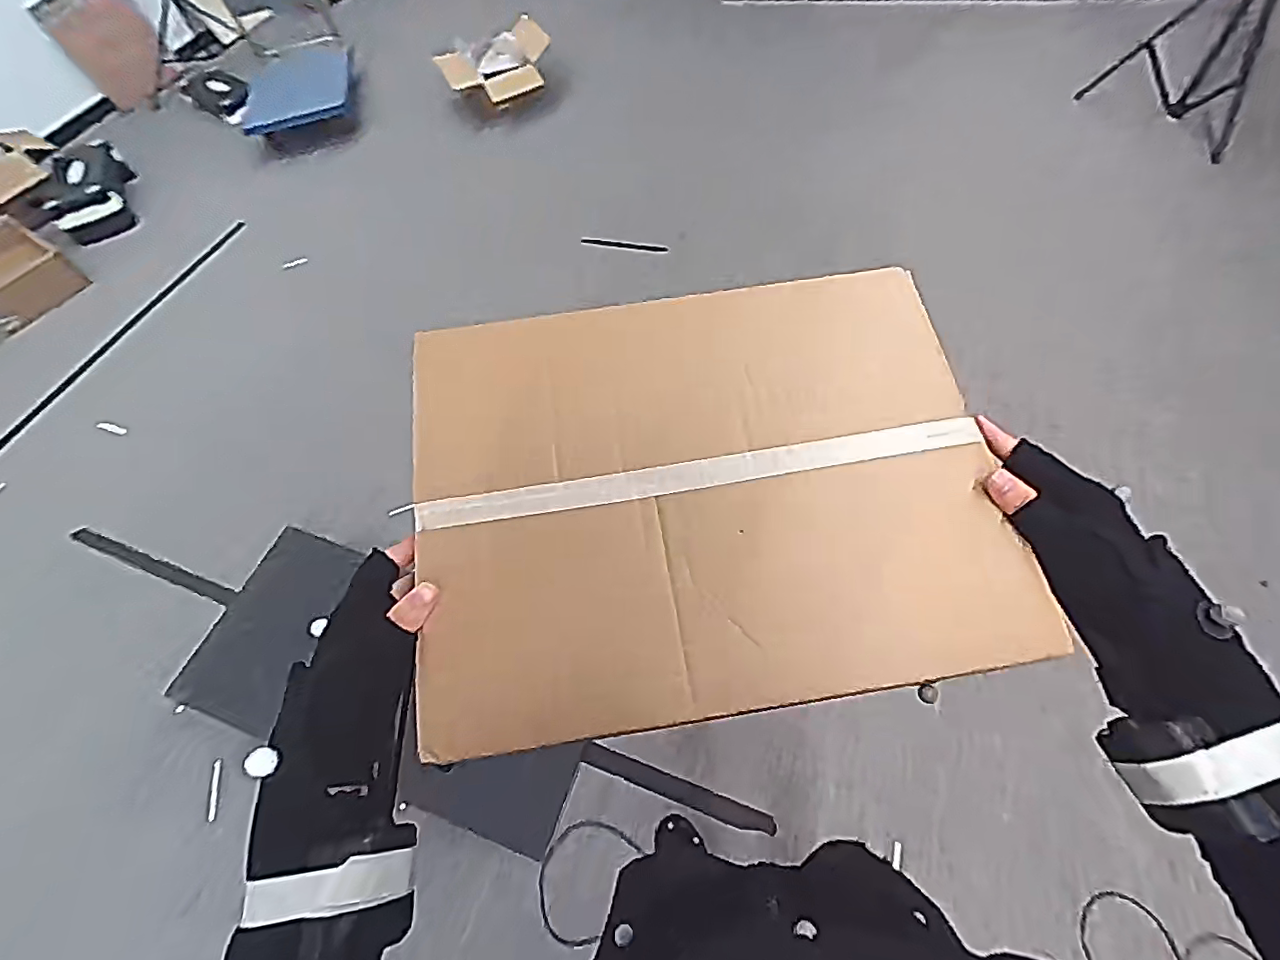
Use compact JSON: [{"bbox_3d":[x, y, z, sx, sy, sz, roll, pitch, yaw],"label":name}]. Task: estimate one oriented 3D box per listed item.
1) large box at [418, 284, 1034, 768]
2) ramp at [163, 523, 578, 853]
[{"bbox_3d":[0.044,0.057,0.534,0.408,0.320,0.320,-9,68,-3],"label":"large box"},{"bbox_3d":[-0.619,0.485,1.384,0.991,0.206,0.509,14,61,14],"label":"ramp"}]
